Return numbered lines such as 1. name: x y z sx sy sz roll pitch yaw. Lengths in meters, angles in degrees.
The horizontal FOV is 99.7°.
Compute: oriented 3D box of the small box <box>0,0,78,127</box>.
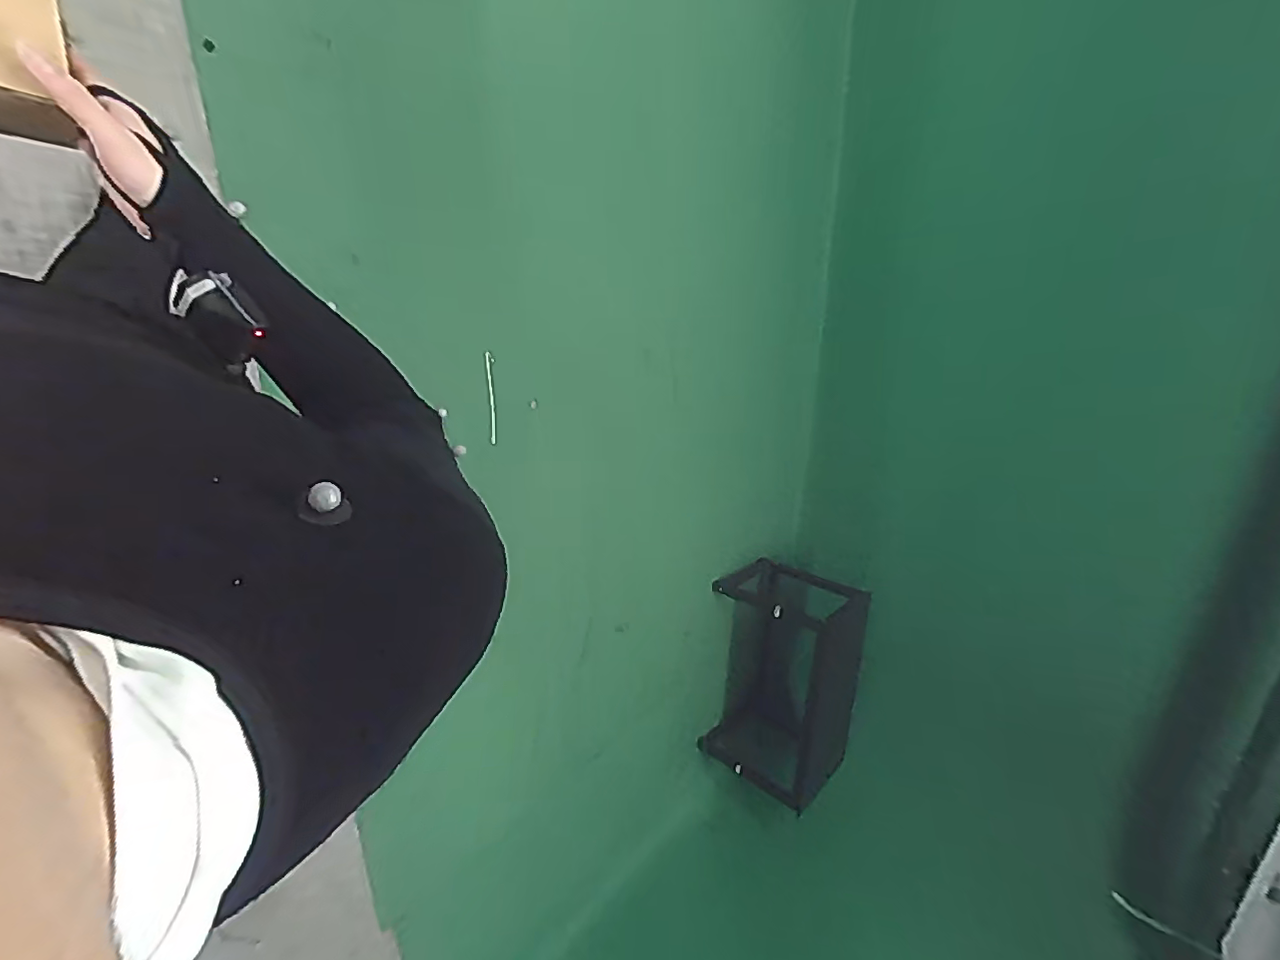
1. small box: -0.524 -0.374 0.374 0.168 0.176 0.179 -10 112 -42
